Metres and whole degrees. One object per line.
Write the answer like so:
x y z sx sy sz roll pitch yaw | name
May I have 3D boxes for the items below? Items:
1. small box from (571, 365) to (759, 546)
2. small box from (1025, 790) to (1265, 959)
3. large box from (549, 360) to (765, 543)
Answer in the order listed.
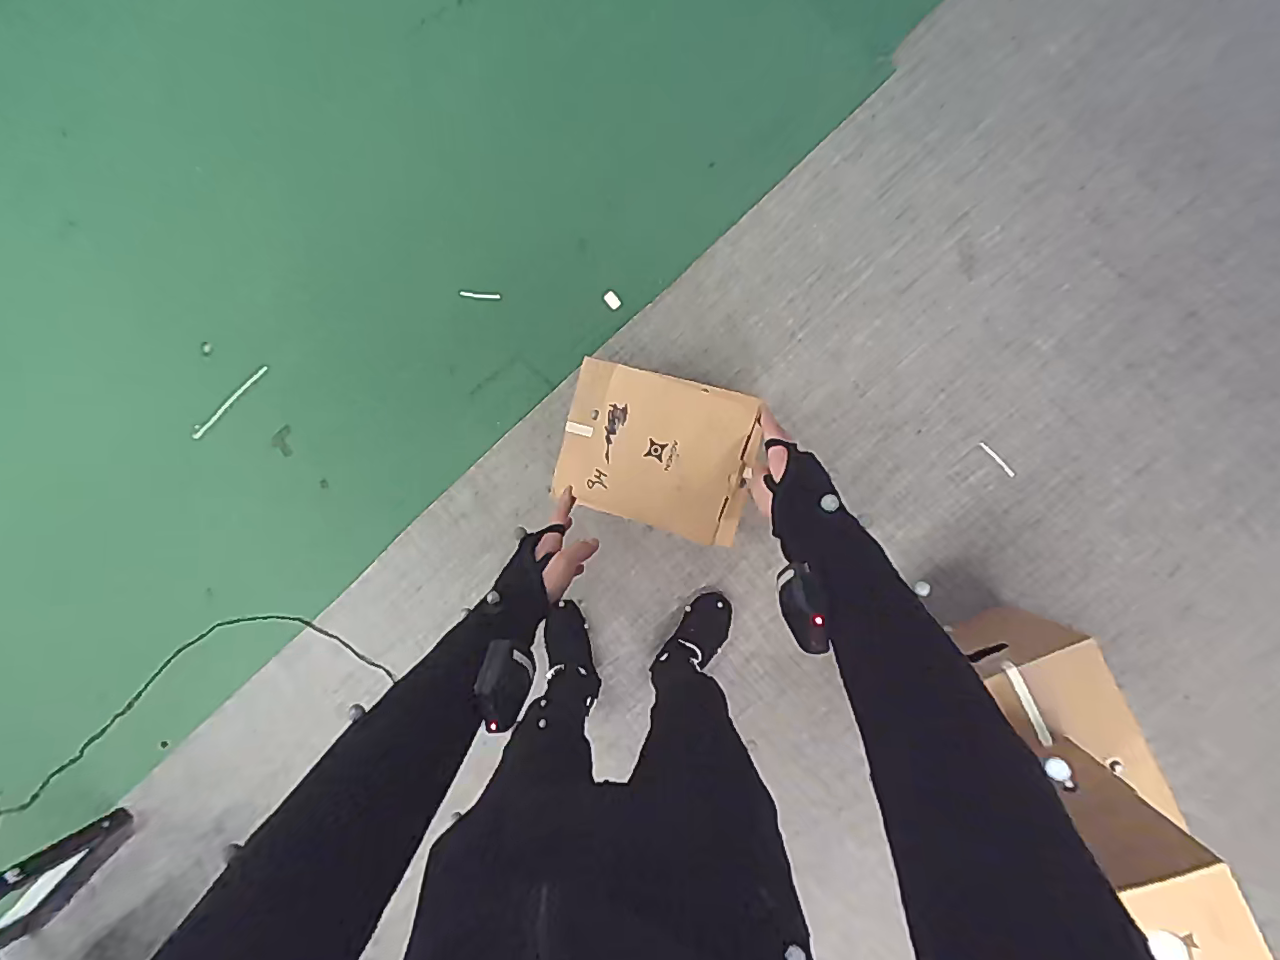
0.036 -0.030 0.696 0.179 0.176 0.168 20 92 7 | small box
0.693 0.584 0.767 0.179 0.176 0.168 -24 87 8 | small box
0.055 -0.062 1.273 0.408 0.320 0.320 15 91 9 | large box
